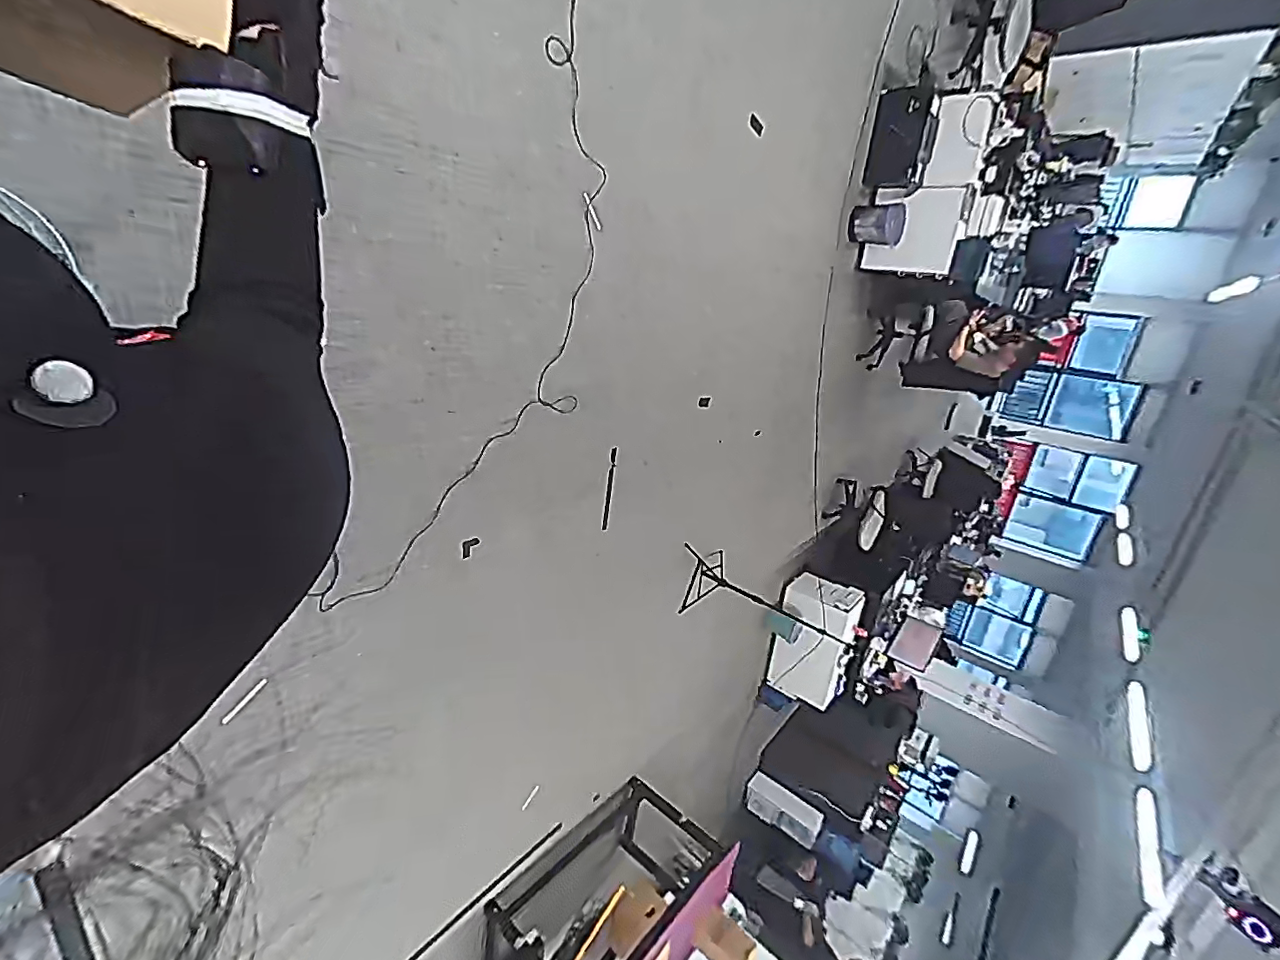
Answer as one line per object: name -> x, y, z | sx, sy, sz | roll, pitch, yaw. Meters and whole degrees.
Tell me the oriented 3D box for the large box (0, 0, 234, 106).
large box -> -0.482, -0.462, 0.261 | 0.408, 0.320, 0.320 | -3, 109, -53
